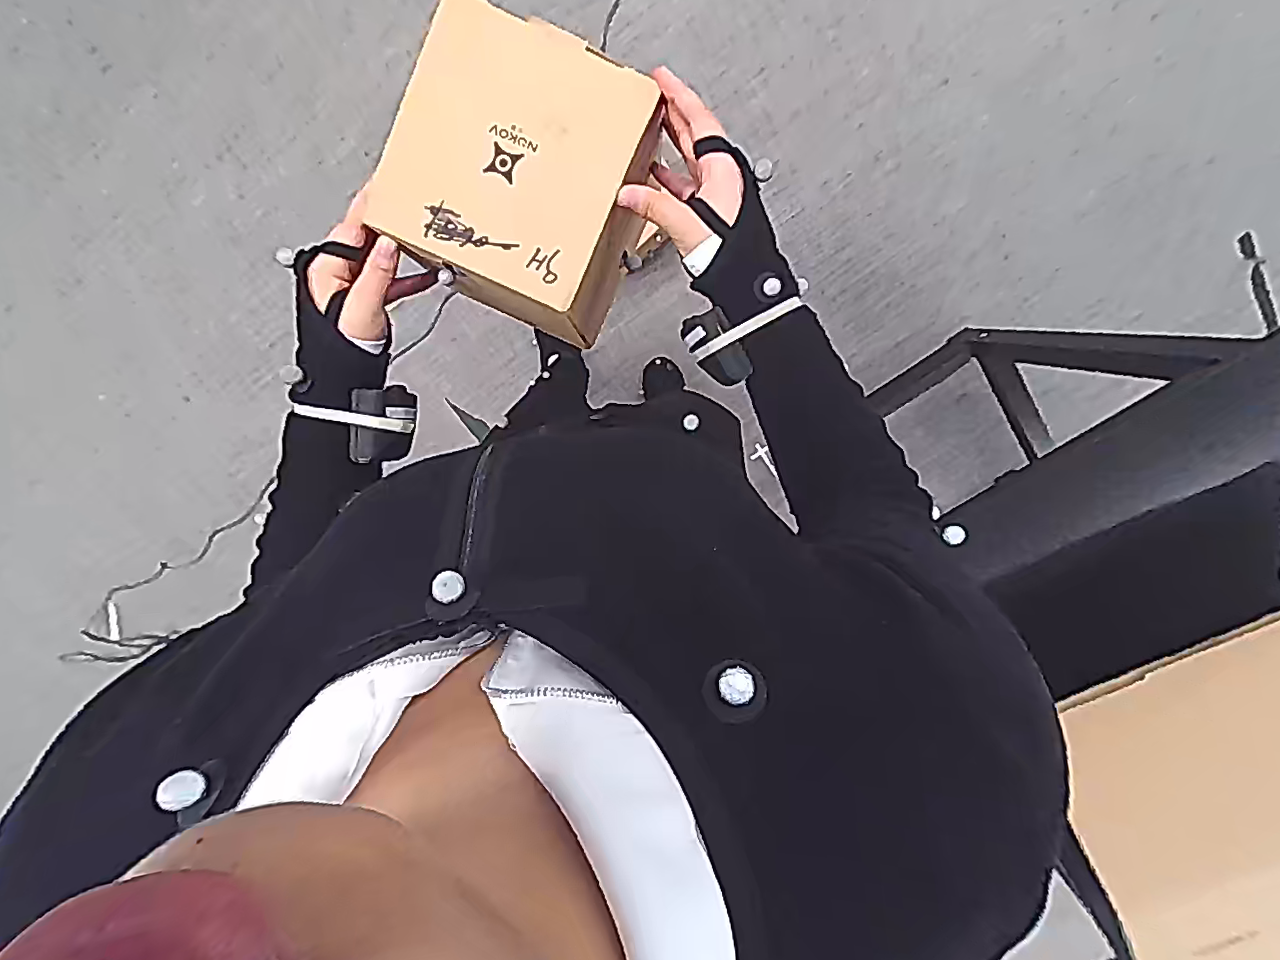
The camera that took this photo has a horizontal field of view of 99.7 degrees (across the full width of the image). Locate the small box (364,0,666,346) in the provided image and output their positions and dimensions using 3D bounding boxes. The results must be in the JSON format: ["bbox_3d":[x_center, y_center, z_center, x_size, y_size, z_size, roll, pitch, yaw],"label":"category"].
[{"bbox_3d":[-0.090,-0.240,0.465,0.168,0.176,0.179,25,93,0],"label":"small box"}]

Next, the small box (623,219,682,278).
[{"bbox_3d":[-0.025,-0.593,1.252,0.179,0.176,0.168,-37,103,11],"label":"small box"}]

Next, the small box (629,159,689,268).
[{"bbox_3d":[-0.021,-0.553,1.095,0.179,0.176,0.168,-41,103,9],"label":"small box"}]
